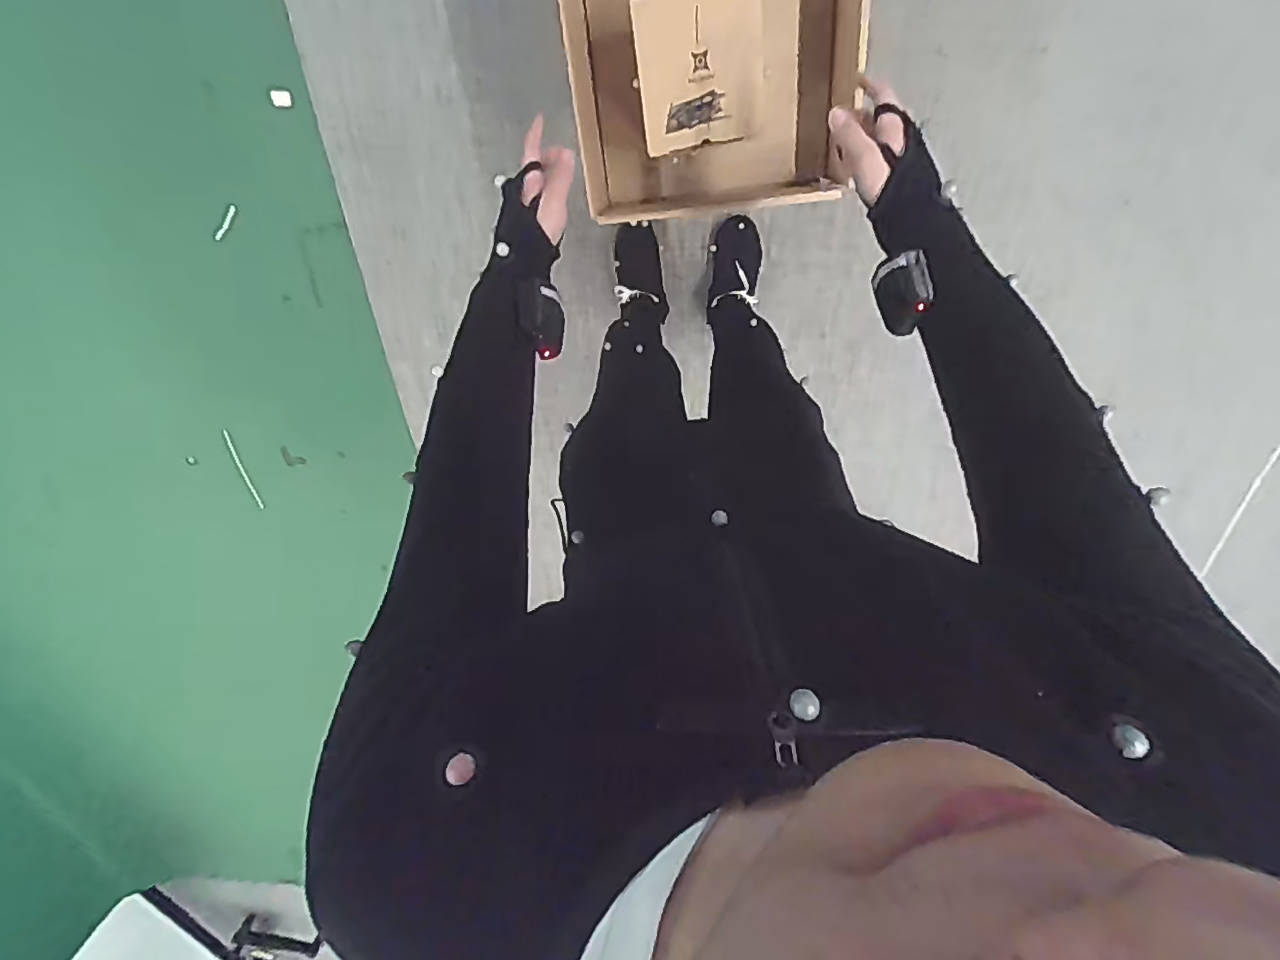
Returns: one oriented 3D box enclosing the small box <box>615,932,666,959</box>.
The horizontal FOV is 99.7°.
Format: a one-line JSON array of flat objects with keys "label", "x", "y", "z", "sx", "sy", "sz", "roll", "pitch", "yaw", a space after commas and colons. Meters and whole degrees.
[{"label": "small box", "x": 0.000, "y": 1.645, "z": 1.795, "sx": 0.168, "sy": 0.176, "sz": 0.179, "roll": 0, "pitch": 121, "yaw": 5}]
